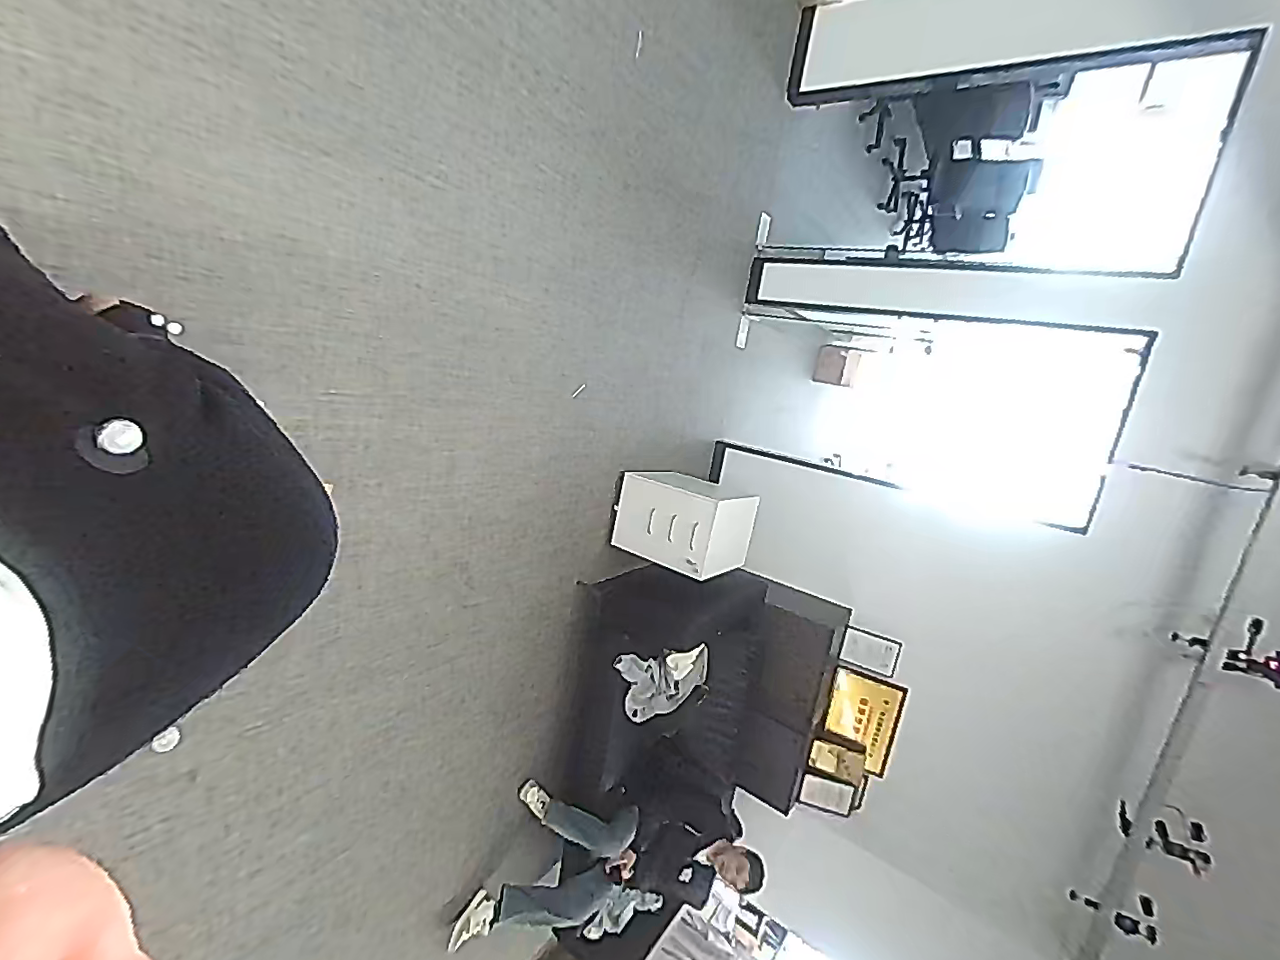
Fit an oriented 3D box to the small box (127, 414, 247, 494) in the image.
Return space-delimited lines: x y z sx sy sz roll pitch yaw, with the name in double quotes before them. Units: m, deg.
"small box" -1.038 -0.042 1.270 0.179 0.176 0.168 -38 137 -45
